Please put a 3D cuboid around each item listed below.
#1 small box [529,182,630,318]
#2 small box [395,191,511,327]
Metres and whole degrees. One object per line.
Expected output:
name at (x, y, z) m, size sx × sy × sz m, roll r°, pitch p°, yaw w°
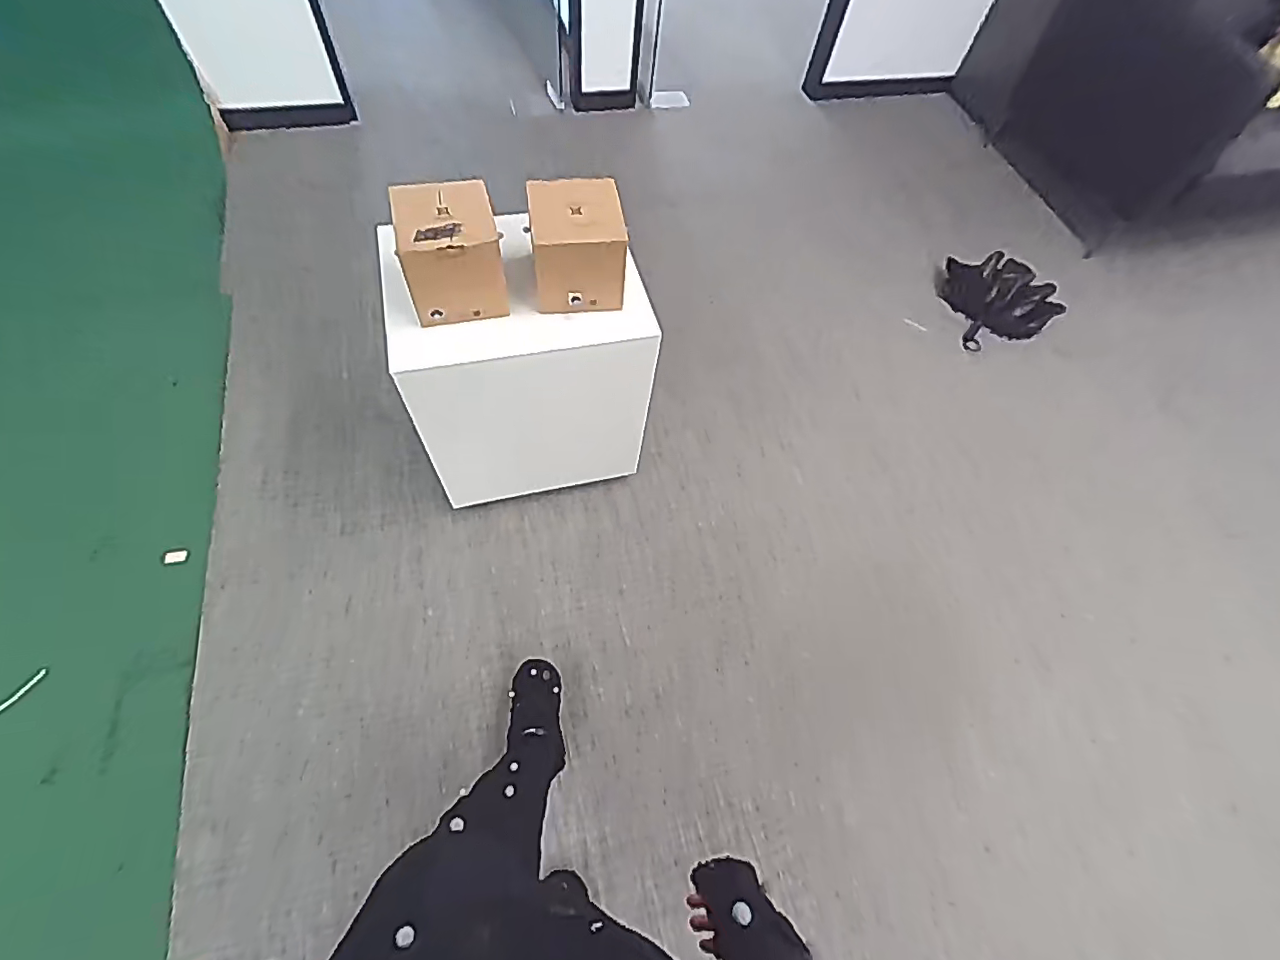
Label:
small box at (-0.118, -0.437, 1.036) m, size 0.168 × 0.176 × 0.179 m, roll -8°, pitch 64°, yaw -9°
small box at (-0.342, -0.403, 1.007) m, size 0.168 × 0.176 × 0.179 m, roll -12°, pitch 62°, yaw -13°
